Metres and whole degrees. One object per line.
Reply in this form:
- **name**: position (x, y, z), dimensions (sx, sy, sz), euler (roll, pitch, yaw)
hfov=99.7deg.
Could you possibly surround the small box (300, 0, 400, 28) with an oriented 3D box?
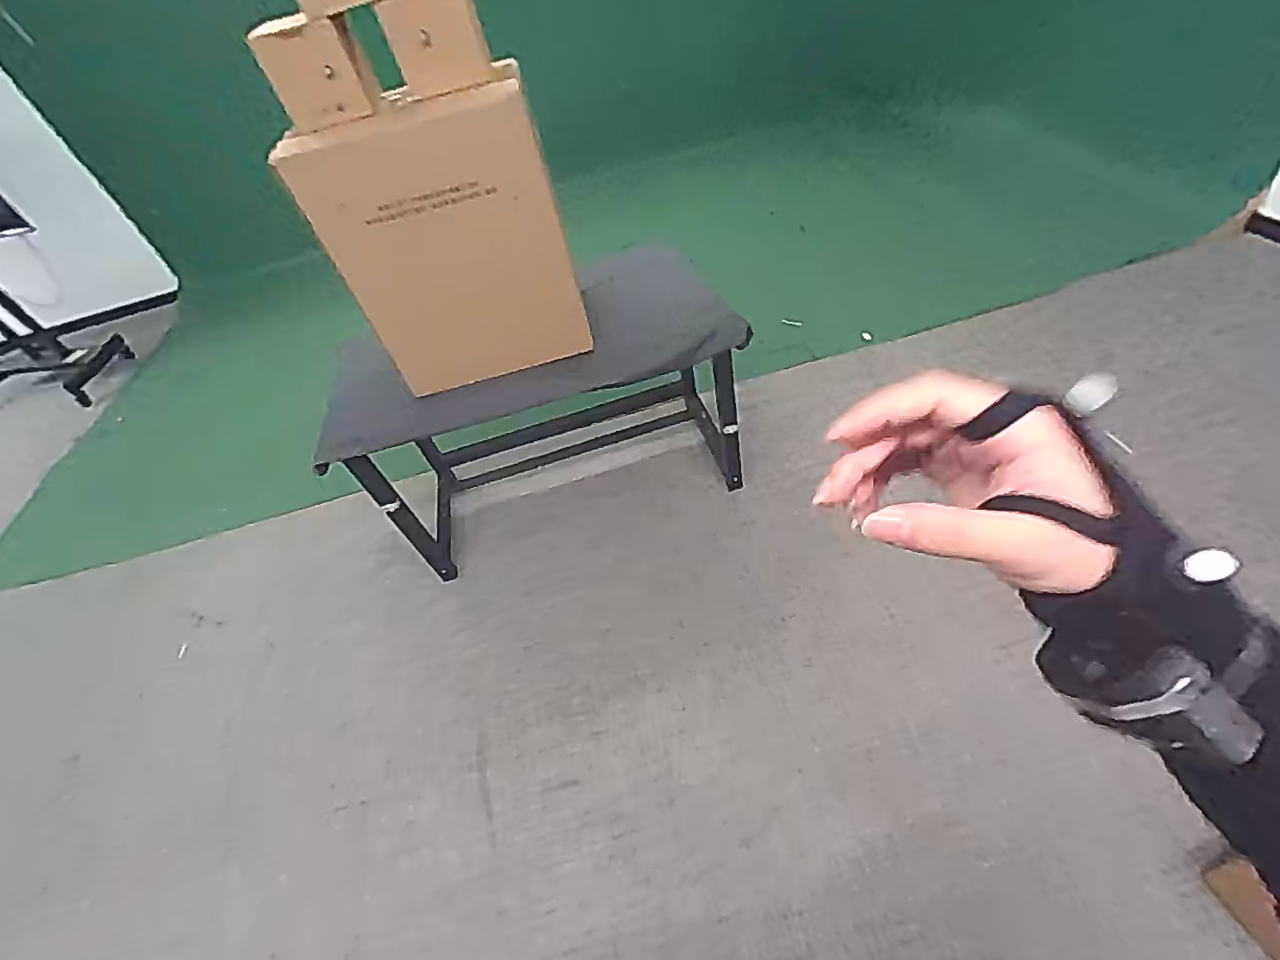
- **small box**: position (-0.575, -0.997, 1.030), dimensions (0.179, 0.176, 0.168), euler (-17, 47, 0)

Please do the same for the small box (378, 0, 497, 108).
- **small box**: position (-0.422, -0.924, 1.154), dimensions (0.179, 0.176, 0.168), euler (-15, 48, 1)

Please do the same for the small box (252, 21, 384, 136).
- **small box**: position (-0.669, -0.855, 1.150), dimensions (0.168, 0.176, 0.179), euler (-15, 46, -2)
